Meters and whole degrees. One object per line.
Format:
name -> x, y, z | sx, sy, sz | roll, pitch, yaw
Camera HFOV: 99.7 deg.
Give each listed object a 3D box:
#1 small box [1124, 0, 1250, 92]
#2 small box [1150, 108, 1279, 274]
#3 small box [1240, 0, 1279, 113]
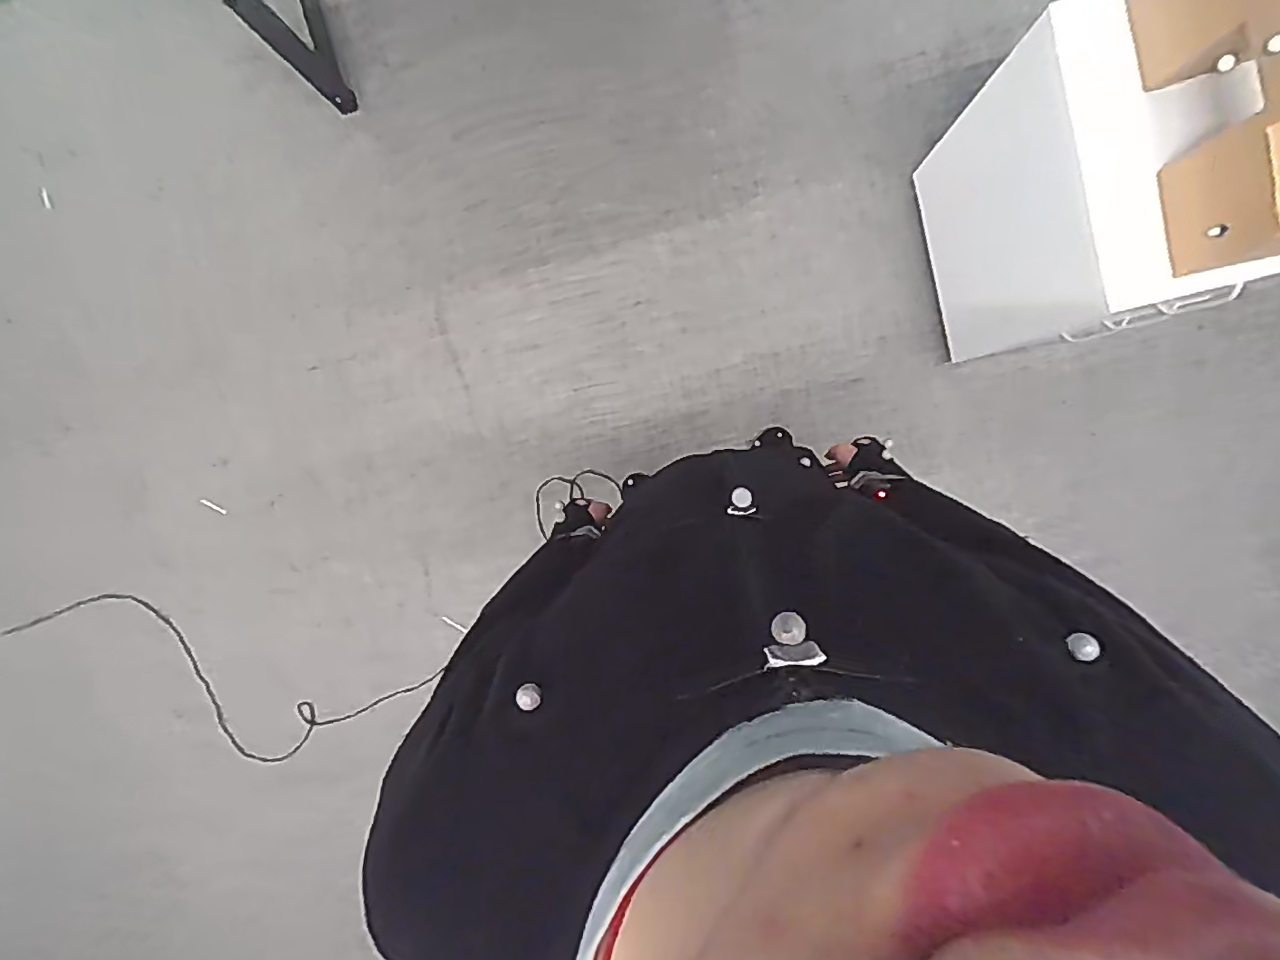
small box -> 0.842, -0.708, 0.766 | 0.168, 0.176, 0.179 | -15, 94, 7
small box -> 0.903, -0.417, 0.782 | 0.168, 0.176, 0.179 | -12, 91, 5
small box -> 0.858, -0.555, 0.612 | 0.168, 0.176, 0.179 | -15, 94, 6
